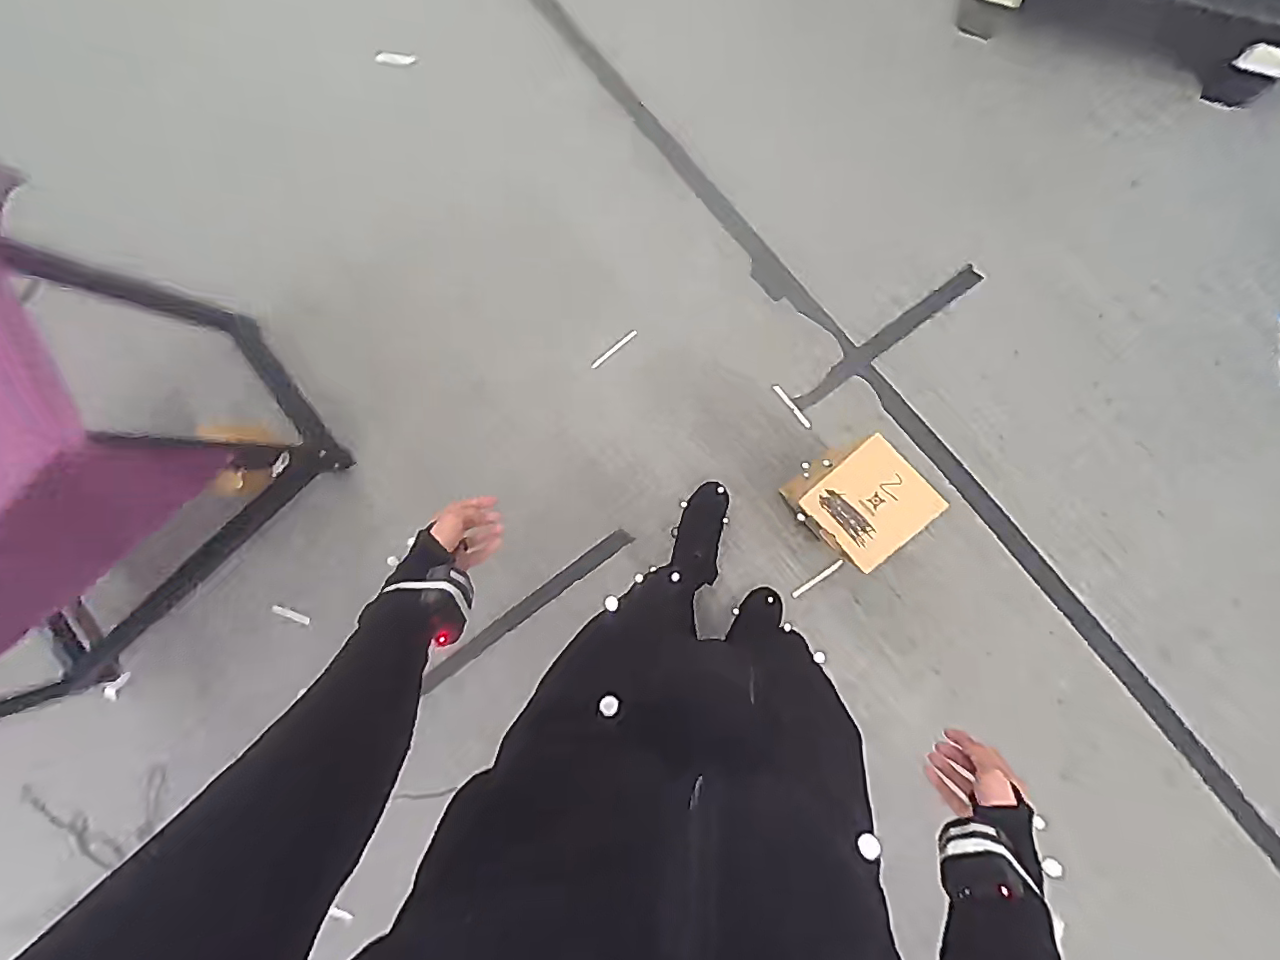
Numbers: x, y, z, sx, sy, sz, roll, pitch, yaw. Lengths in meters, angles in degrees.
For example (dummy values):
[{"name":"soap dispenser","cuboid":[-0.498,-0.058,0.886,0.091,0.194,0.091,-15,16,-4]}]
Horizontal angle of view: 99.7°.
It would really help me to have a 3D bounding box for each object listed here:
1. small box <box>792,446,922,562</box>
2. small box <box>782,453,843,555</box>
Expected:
[{"name":"small box","cuboid":[0.437,0.043,1.124,0.179,0.176,0.168,-36,85,10]},{"name":"small box","cuboid":[0.459,0.050,1.285,0.168,0.176,0.179,-40,83,9]}]
